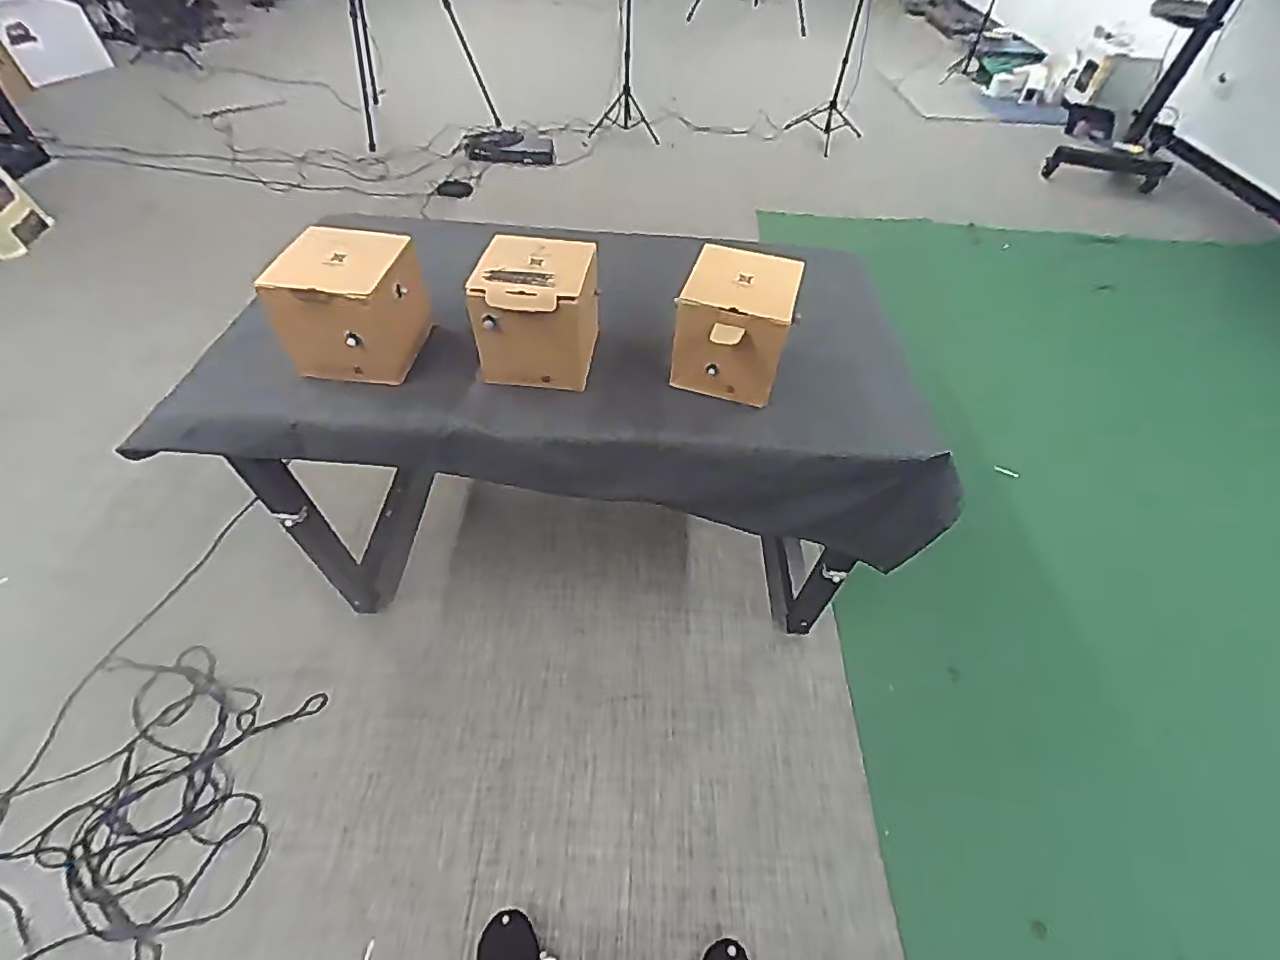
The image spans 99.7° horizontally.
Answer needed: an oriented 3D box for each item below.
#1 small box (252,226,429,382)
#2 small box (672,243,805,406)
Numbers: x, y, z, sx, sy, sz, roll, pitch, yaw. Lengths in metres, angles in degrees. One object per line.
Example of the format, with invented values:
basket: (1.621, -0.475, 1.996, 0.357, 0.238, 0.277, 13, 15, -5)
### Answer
small box: (-0.456, -0.277, 0.861, 0.168, 0.176, 0.179, 6, 49, 0)
small box: (0.156, -0.252, 0.880, 0.168, 0.176, 0.179, 16, 52, 9)
